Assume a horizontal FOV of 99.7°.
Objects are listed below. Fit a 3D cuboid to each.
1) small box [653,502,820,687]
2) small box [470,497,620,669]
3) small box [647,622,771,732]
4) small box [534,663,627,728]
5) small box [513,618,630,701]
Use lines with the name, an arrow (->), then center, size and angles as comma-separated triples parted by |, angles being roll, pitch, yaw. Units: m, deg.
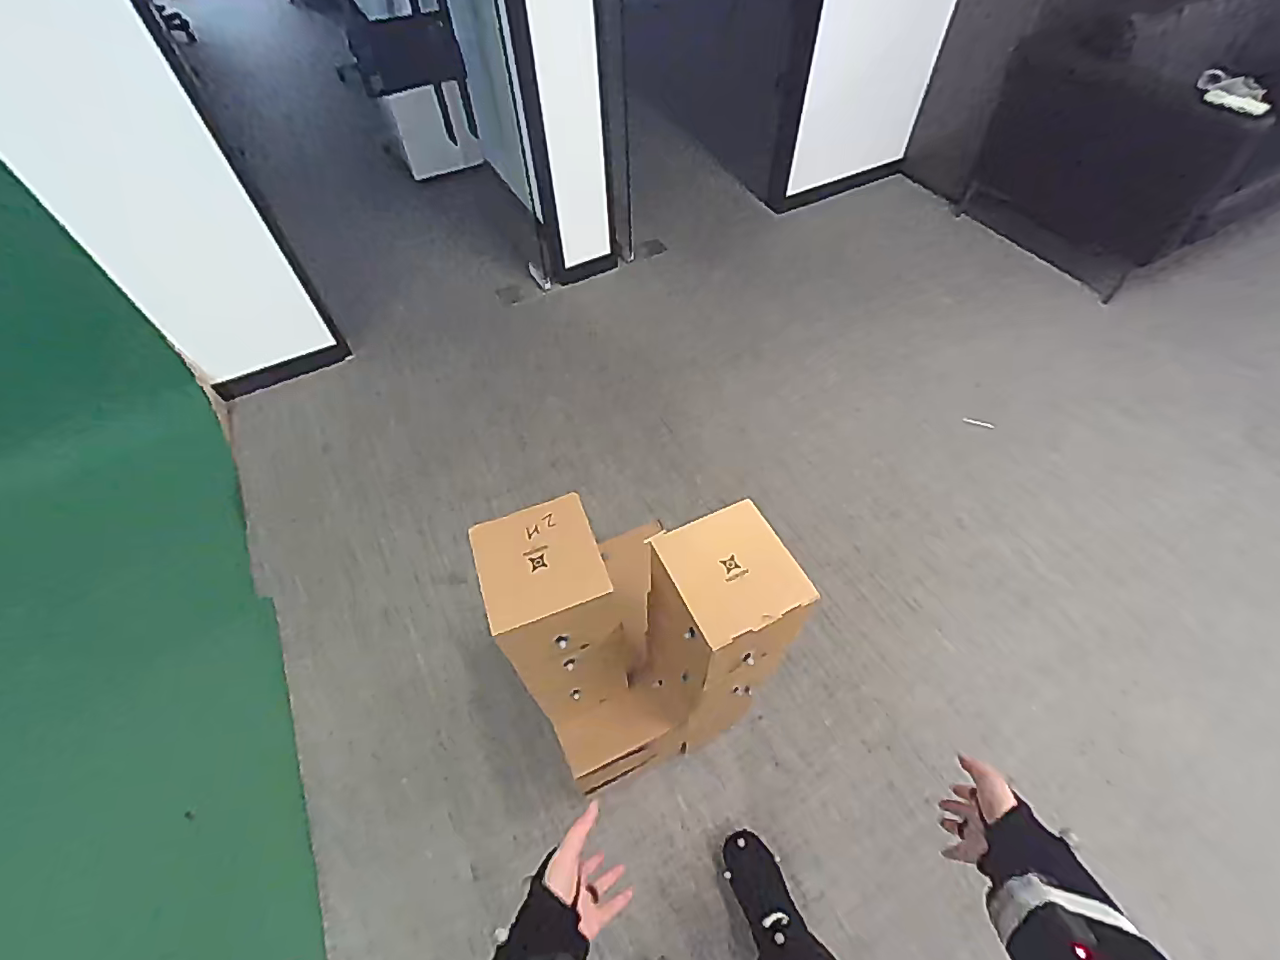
small box -> 0.125, 0.168, 0.788 | 0.168, 0.176, 0.179 | -22, 56, -15
small box -> -0.134, 0.161, 0.800 | 0.168, 0.176, 0.179 | -18, 54, -11
small box -> 0.125, 0.358, 1.054 | 0.179, 0.176, 0.168 | -24, 55, -15
small box -> -0.135, 0.355, 1.068 | 0.168, 0.176, 0.179 | -23, 54, -14
small box -> -0.132, 0.254, 0.934 | 0.179, 0.176, 0.168 | -25, 56, -12
